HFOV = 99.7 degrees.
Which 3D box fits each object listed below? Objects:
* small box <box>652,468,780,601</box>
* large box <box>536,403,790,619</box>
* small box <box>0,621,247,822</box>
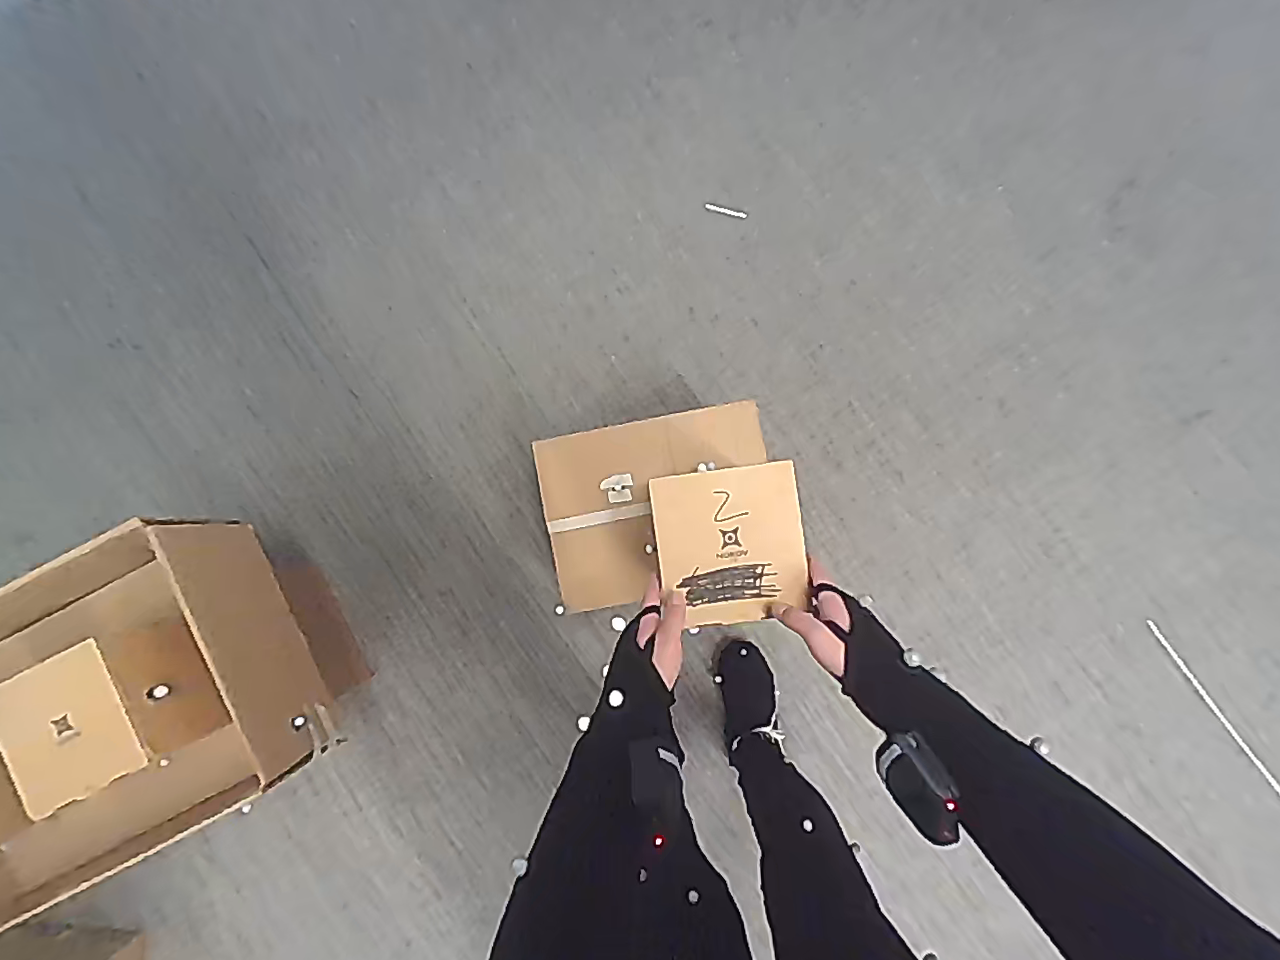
[{"bbox_3d":[0.110,0.079,0.844,0.168,0.176,0.179,-7,88,1],"label":"small box"},{"bbox_3d":[0.044,0.059,1.093,0.408,0.320,0.320,-11,86,2],"label":"large box"},{"bbox_3d":[-0.701,0.311,0.744,0.168,0.176,0.179,-27,88,0],"label":"small box"}]
